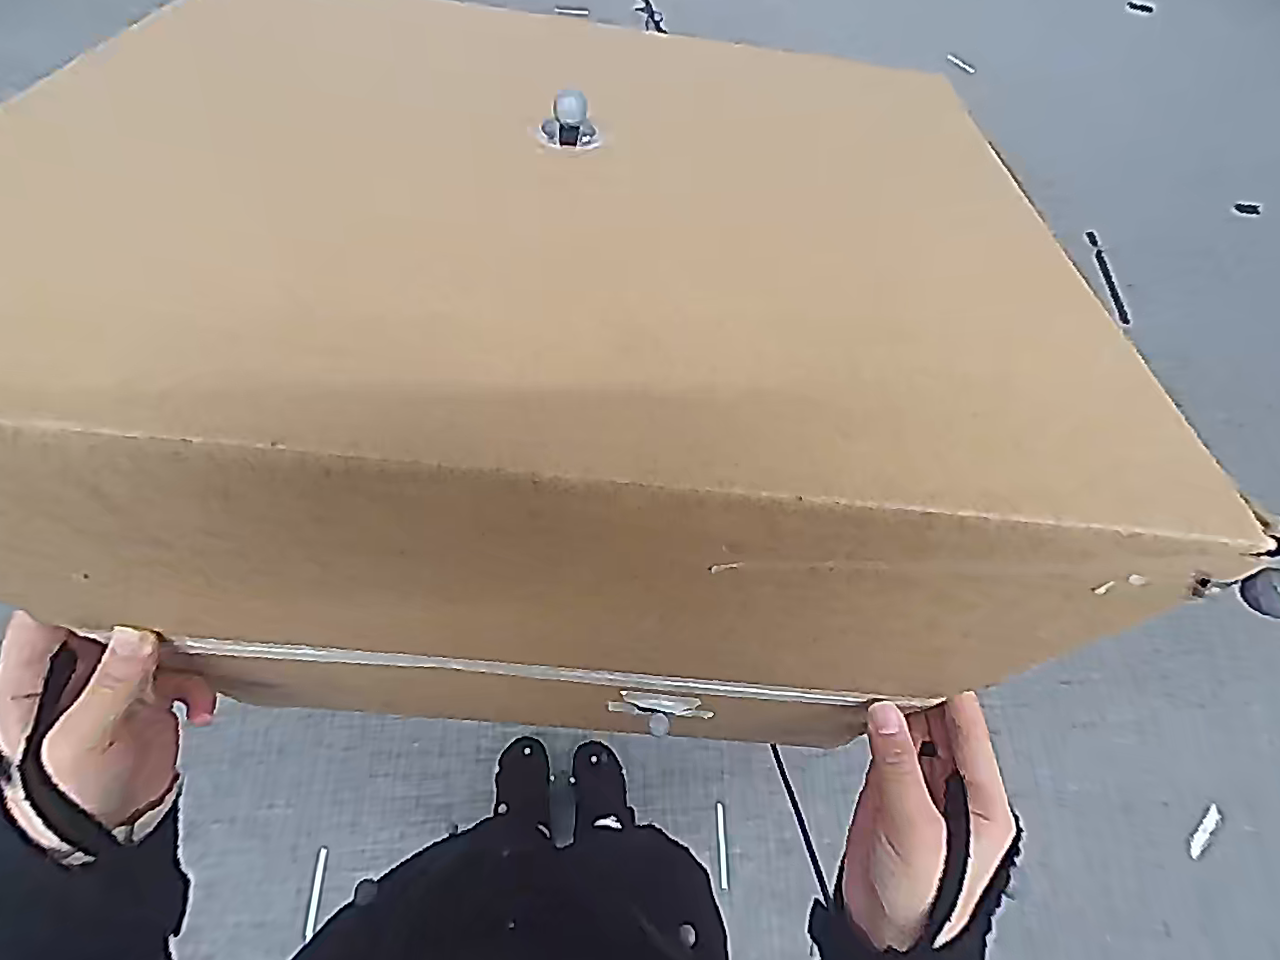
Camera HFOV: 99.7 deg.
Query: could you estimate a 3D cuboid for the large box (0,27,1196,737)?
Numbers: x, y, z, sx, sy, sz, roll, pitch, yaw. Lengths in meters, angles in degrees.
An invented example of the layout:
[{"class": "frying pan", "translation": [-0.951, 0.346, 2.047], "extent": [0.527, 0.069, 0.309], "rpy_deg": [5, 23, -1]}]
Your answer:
[{"class": "large box", "translation": [-0.049, -0.038, 0.349], "extent": [0.408, 0.320, 0.320], "rpy_deg": [5, 56, -3]}]
